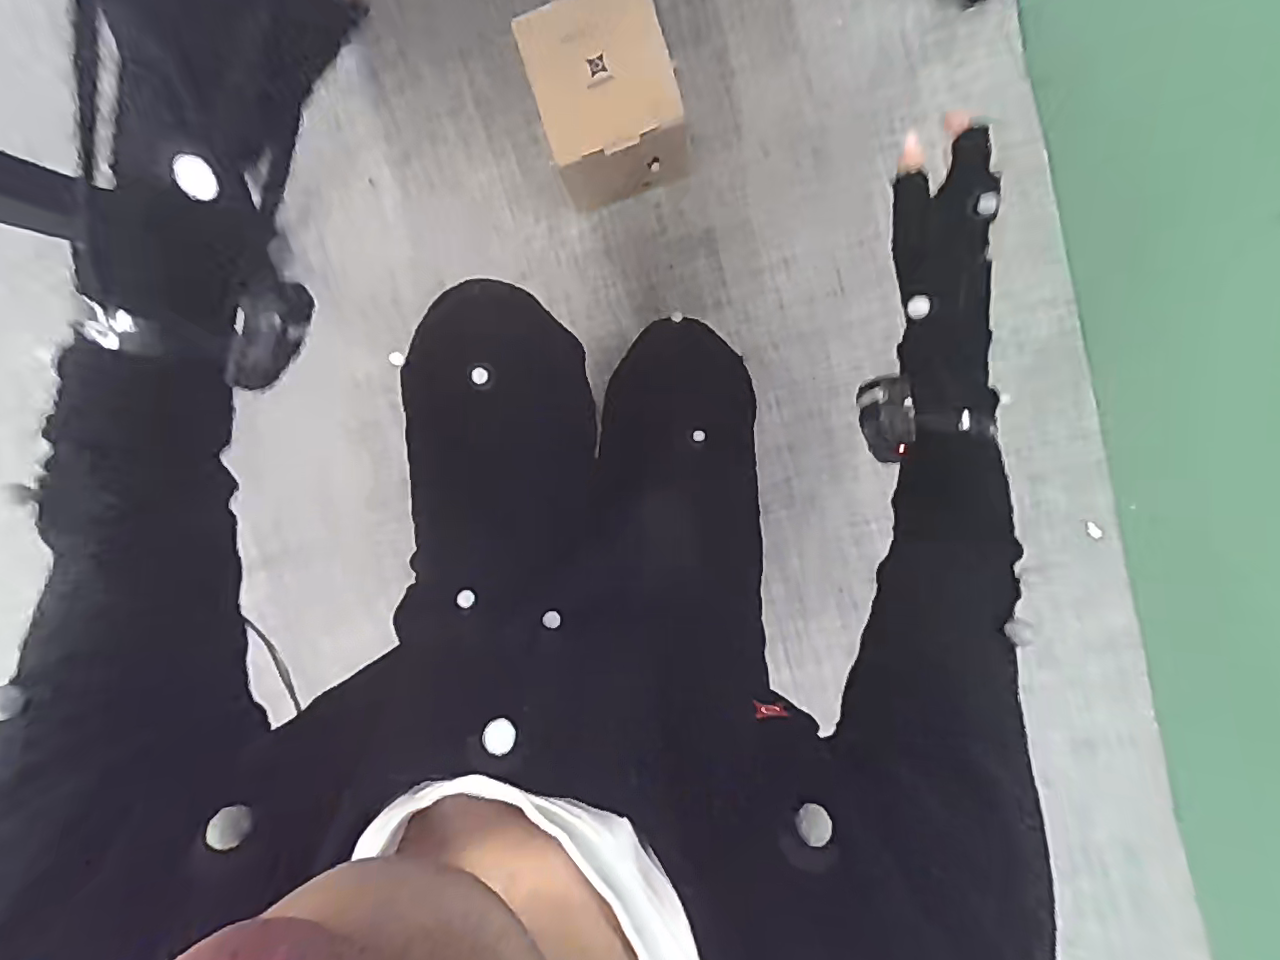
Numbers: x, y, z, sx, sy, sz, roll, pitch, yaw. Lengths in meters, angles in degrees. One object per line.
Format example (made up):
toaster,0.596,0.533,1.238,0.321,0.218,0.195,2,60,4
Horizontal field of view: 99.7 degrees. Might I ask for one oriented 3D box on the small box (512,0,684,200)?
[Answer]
small box,-0.042,-0.499,0.713,0.168,0.176,0.179,-18,95,7
